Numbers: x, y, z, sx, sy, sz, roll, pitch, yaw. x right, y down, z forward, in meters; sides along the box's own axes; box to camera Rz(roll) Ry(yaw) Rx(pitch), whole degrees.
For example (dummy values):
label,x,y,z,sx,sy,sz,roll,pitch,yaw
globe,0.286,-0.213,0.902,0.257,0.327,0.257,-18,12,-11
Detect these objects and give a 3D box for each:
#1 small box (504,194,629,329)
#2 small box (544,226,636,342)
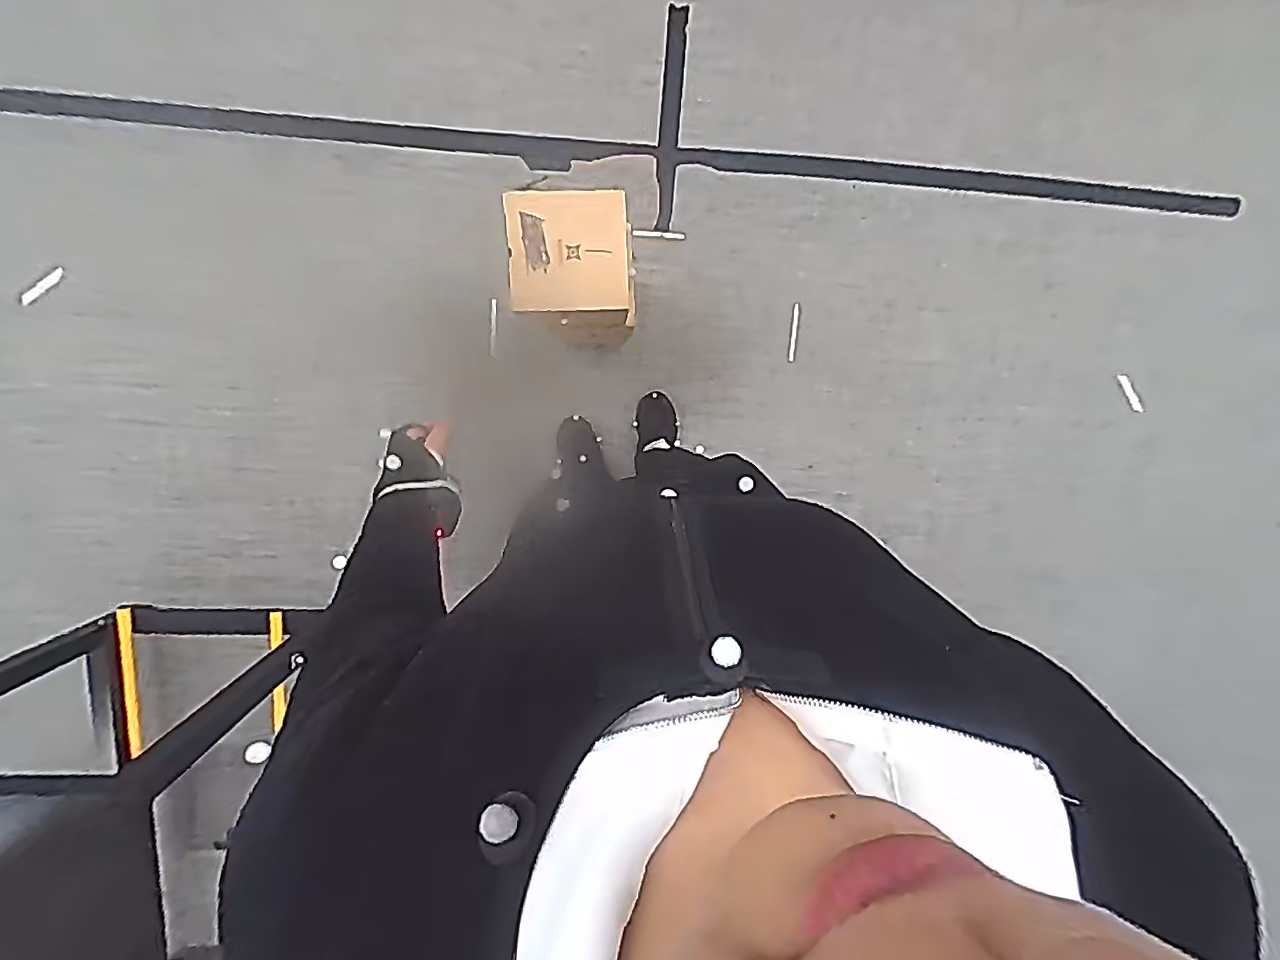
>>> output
label,x,y,z,sx,sy,sz,roll,pitch,yaw
small box,-0.108,-0.334,0.853,0.179,0.176,0.168,-2,99,-3
small box,-0.096,-0.359,1.016,0.168,0.176,0.179,-3,99,-2
